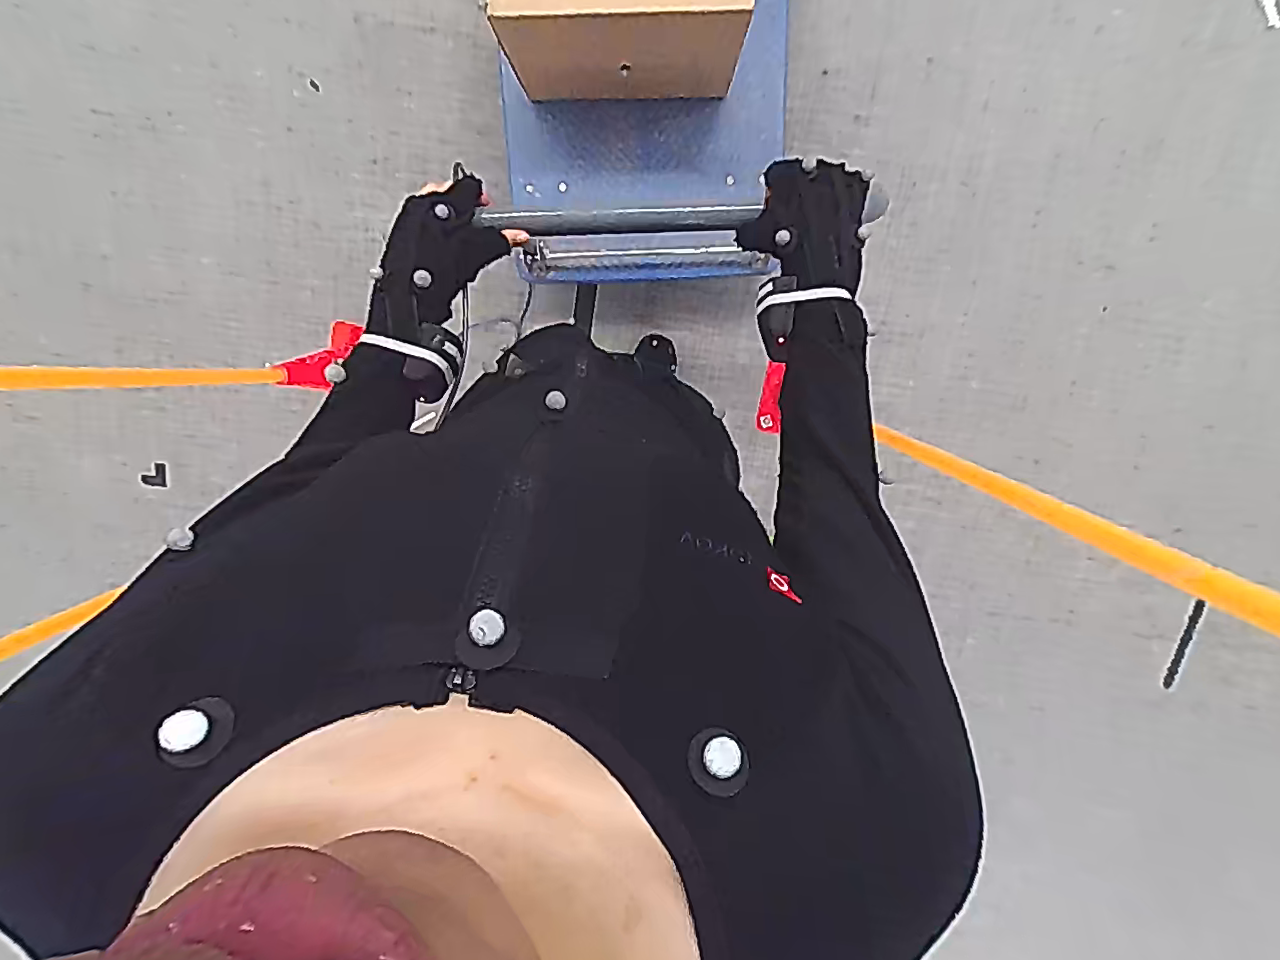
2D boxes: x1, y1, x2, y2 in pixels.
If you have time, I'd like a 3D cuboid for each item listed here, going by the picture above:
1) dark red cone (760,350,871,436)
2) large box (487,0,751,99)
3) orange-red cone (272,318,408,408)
[{"bbox_3d":[0.418,-0.179,1.221,0.201,0.394,0.202,8,105,-3],"label":"dark red cone"},{"bbox_3d":[-0.030,-0.885,0.918,0.408,0.320,0.320,0,105,2],"label":"large box"},{"bbox_3d":[-0.713,-0.263,1.240,0.198,0.360,0.199,15,103,-4],"label":"orange-red cone"}]
